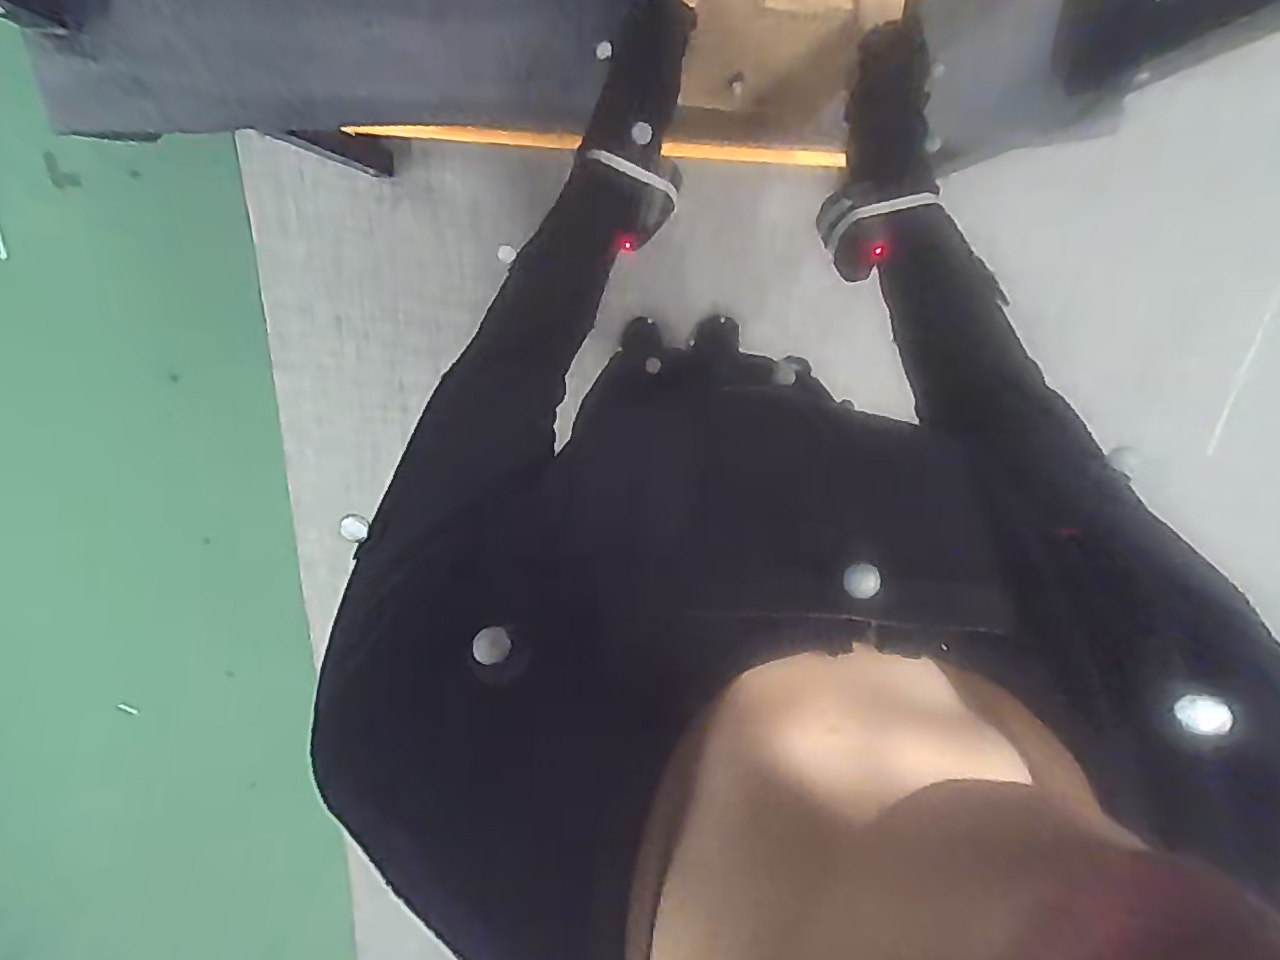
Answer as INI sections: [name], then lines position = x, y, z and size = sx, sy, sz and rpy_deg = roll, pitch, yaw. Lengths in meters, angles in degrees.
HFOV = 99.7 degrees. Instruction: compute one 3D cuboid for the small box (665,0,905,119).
[small box]
position = 0.116, -0.447, 0.456
size = 0.168, 0.176, 0.179
rpy_deg = 4, 101, -4
